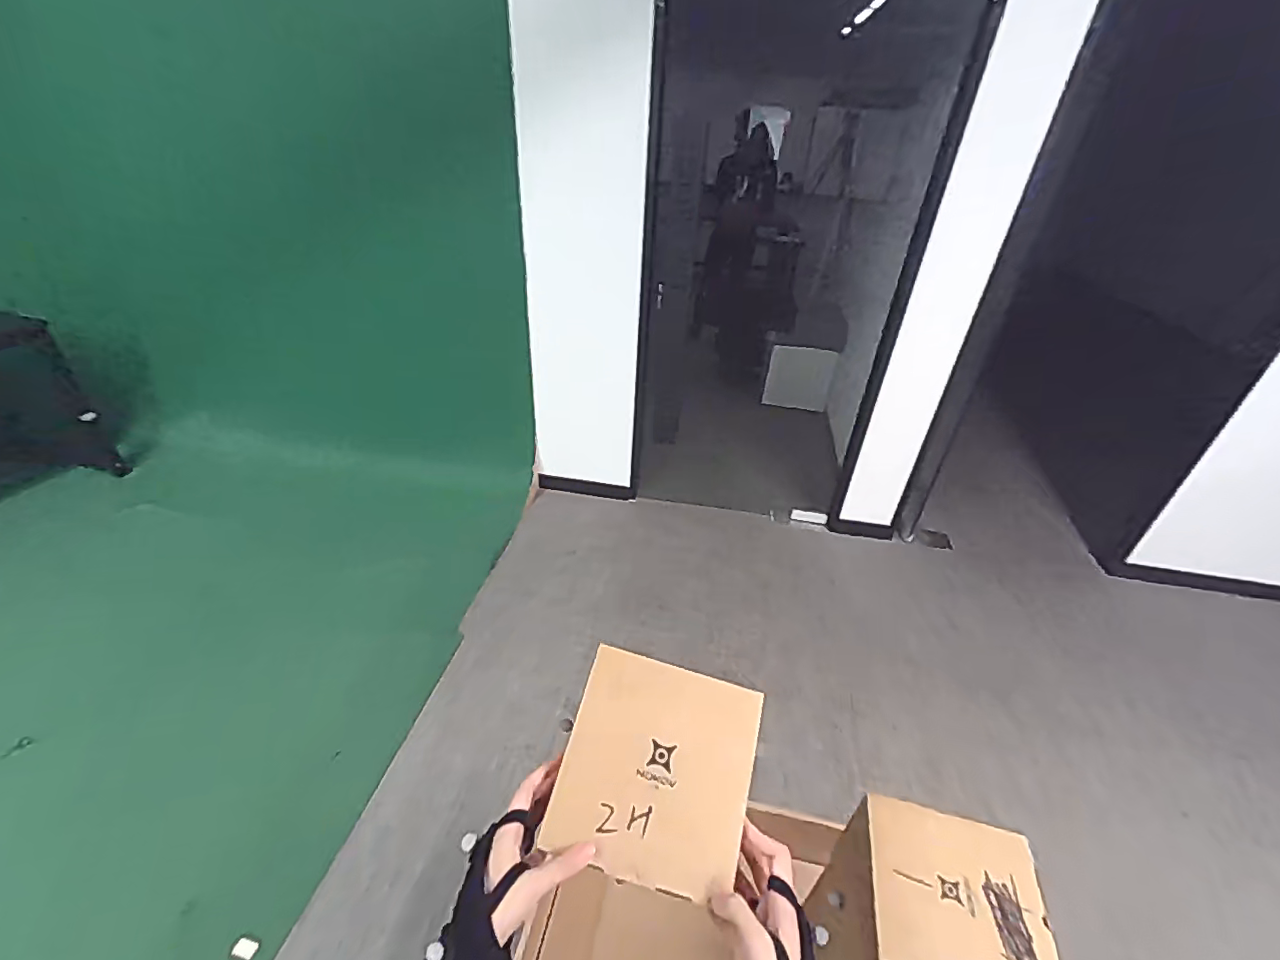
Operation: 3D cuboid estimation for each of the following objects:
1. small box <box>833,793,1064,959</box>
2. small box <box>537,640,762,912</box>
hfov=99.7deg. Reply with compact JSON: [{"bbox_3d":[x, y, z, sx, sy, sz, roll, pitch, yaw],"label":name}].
[{"bbox_3d":[0.323,0.491,0.596,0.179,0.176,0.168,11,35,12],"label":"small box"},{"bbox_3d":[0.010,0.288,0.545,0.168,0.176,0.179,16,61,6],"label":"small box"}]
